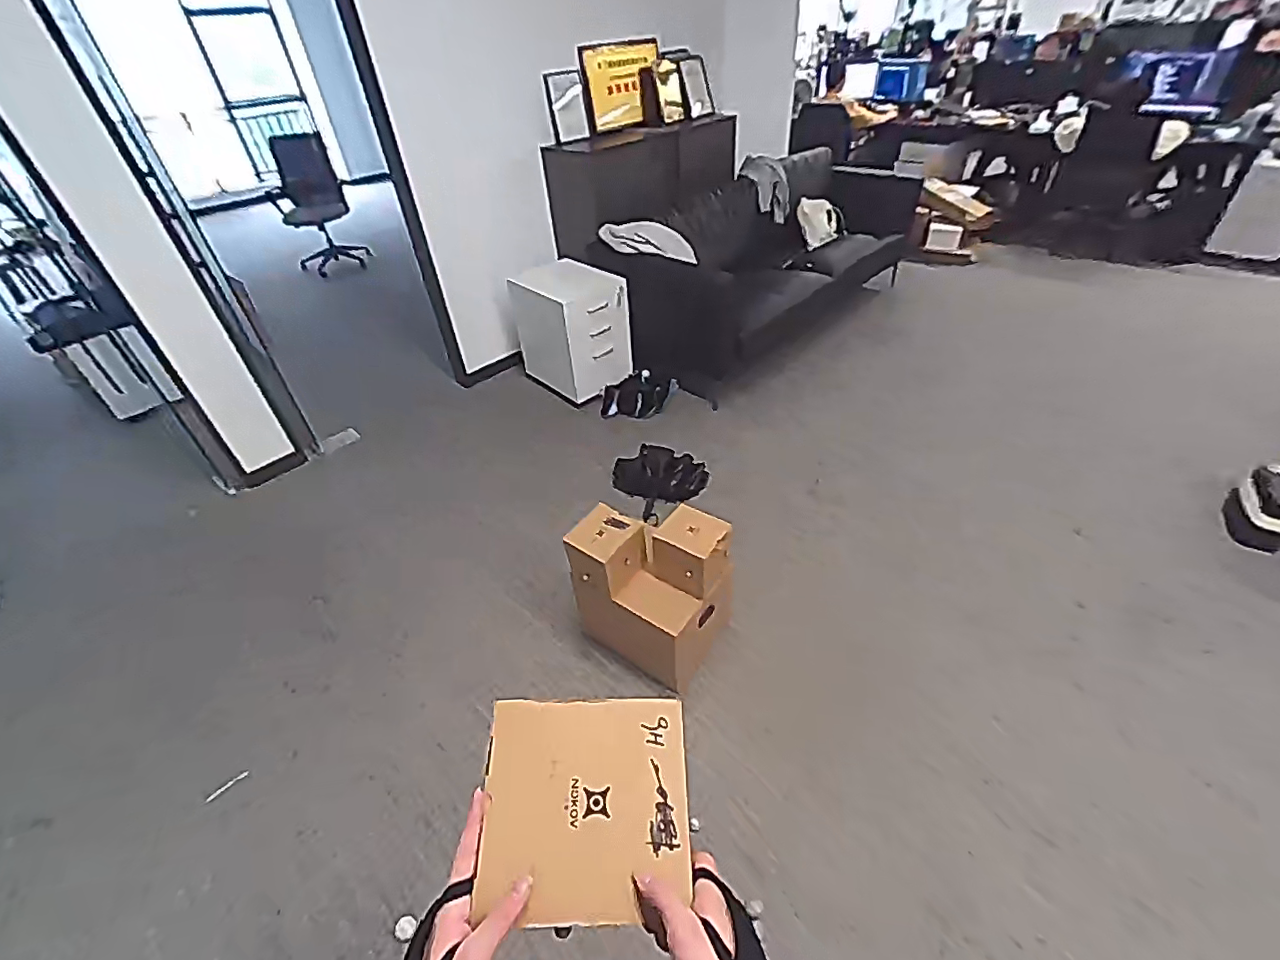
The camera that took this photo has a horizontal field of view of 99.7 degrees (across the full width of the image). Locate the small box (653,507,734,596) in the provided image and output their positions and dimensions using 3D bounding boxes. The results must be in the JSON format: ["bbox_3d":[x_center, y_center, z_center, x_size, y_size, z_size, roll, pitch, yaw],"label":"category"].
[{"bbox_3d":[0.157,0.214,1.585,0.179,0.176,0.168,20,43,29],"label":"small box"}]

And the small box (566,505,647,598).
[{"bbox_3d":[-0.093,0.213,1.611,0.168,0.176,0.179,25,52,31],"label":"small box"}]
